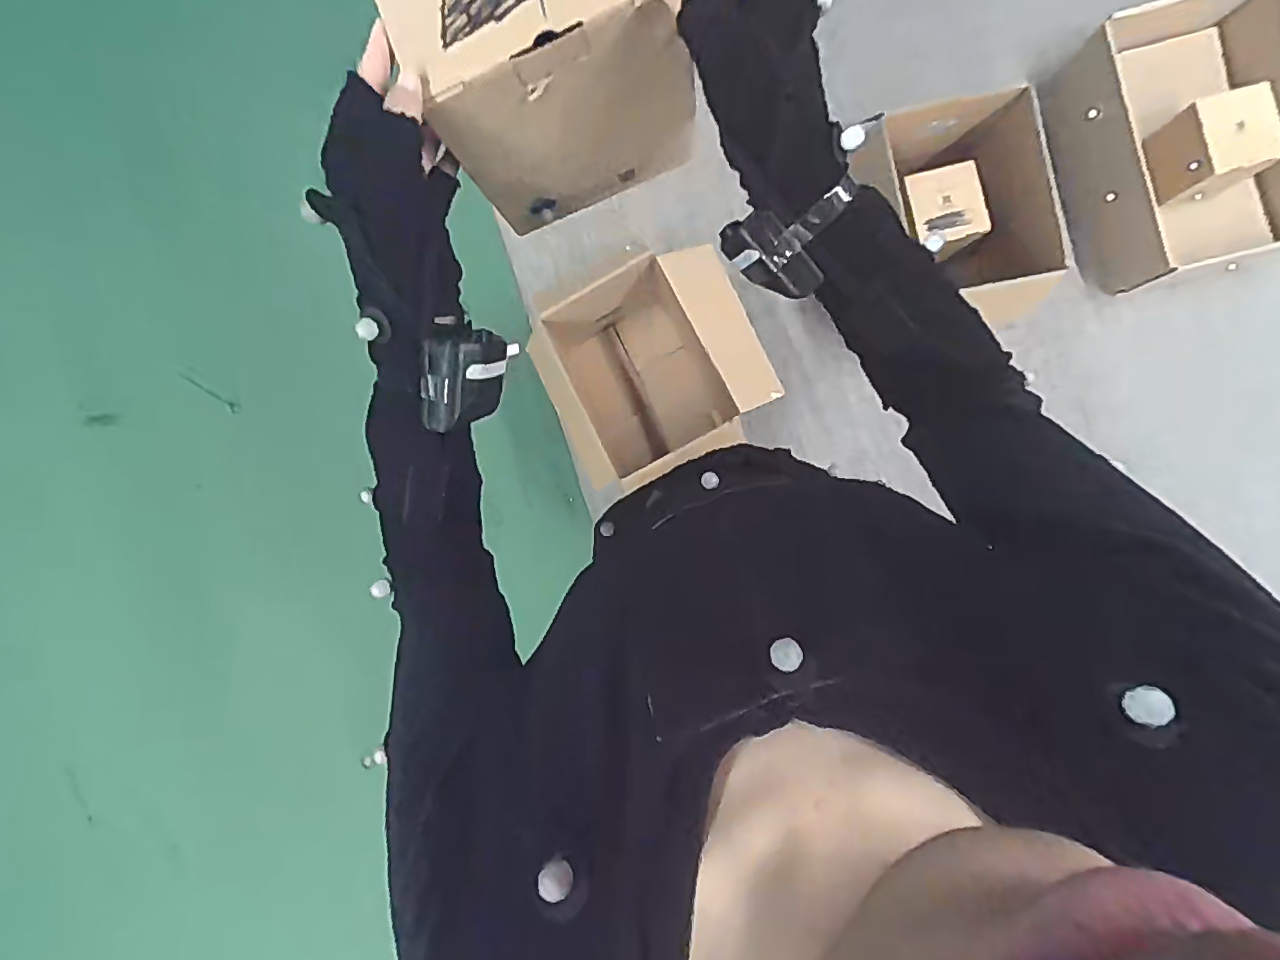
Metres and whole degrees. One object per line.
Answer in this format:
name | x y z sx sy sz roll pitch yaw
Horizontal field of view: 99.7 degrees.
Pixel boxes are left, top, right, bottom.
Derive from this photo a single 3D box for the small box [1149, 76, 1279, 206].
small box | 1.354 -0.781 1.263 0.168 0.176 0.179 -14 88 3
